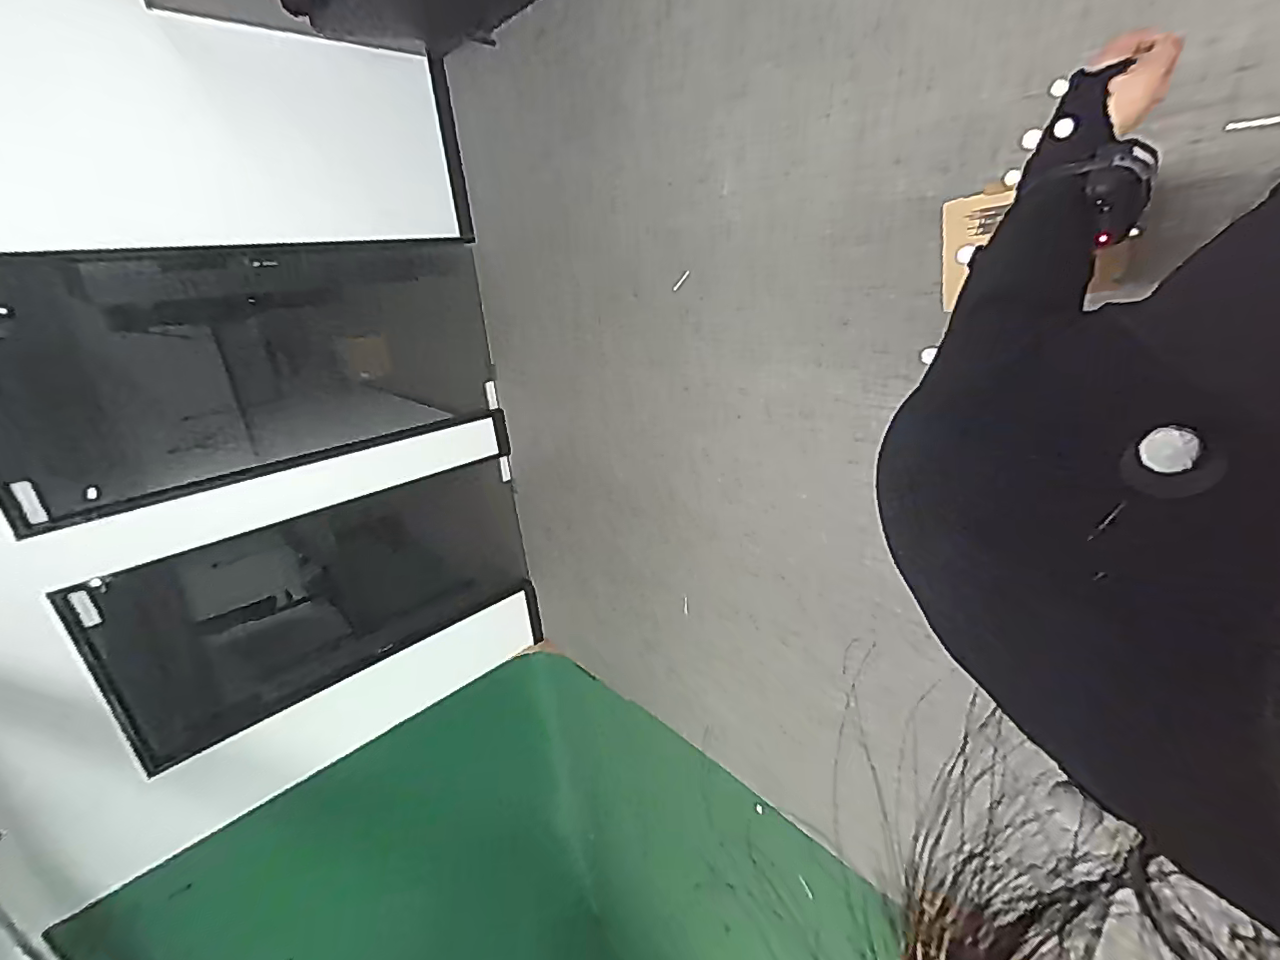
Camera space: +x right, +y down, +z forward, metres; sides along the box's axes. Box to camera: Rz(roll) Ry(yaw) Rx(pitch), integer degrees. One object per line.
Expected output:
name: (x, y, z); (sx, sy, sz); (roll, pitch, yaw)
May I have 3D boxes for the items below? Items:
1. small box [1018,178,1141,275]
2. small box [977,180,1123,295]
small box: (0.868, -0.499, 1.085); (0.179, 0.176, 0.168); (16, 119, 46)
small box: (0.750, -0.439, 0.990); (0.179, 0.176, 0.168); (14, 117, 48)
